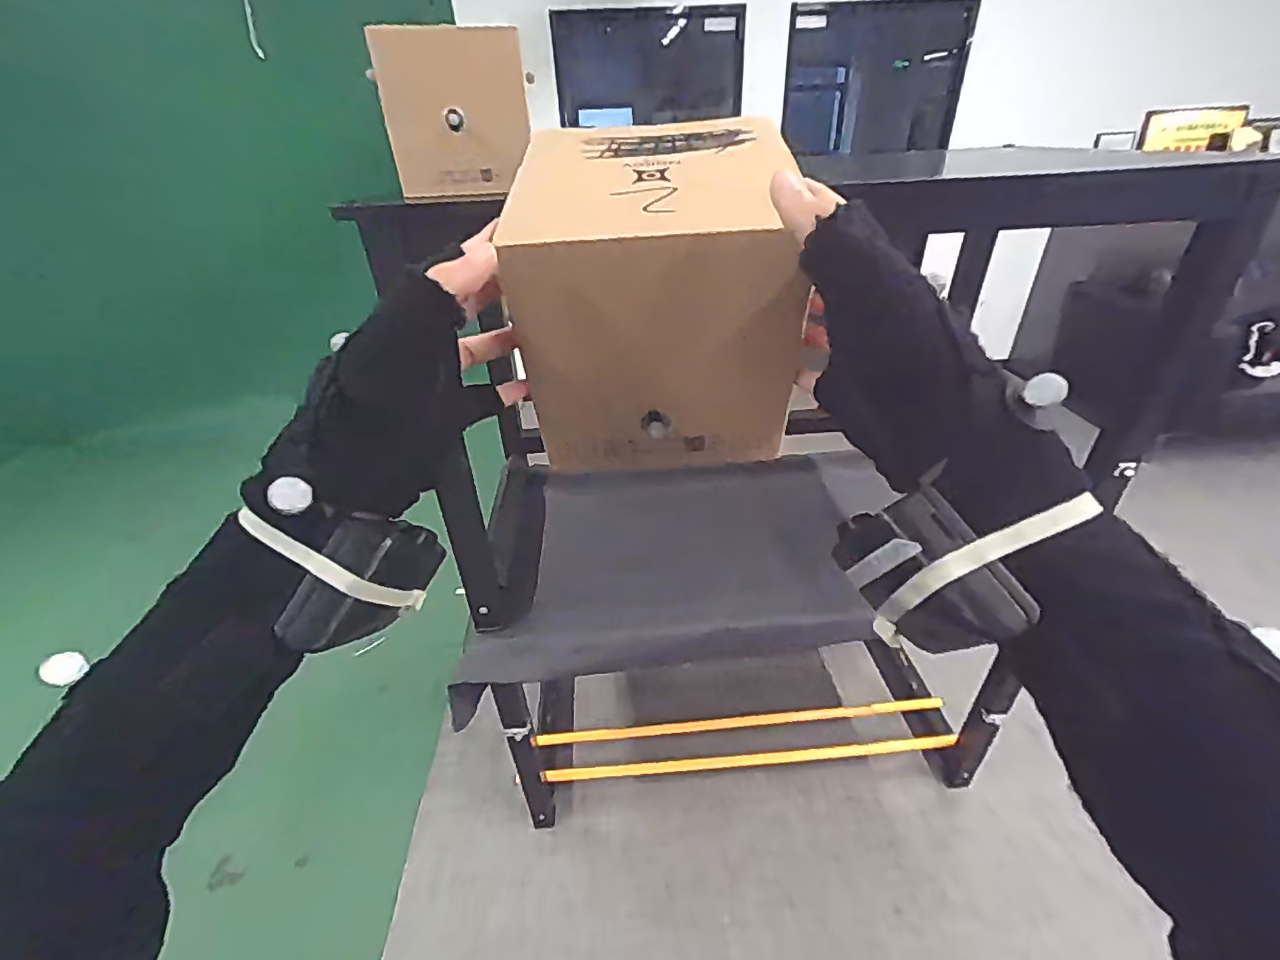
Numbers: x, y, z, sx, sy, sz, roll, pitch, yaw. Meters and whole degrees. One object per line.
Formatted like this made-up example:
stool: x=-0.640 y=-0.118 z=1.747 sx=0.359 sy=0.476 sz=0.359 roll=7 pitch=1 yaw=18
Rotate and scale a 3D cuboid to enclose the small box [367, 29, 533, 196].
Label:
small box: x=-0.237 y=-0.479 z=0.721 sx=0.168 sy=0.176 sz=0.179 roll=-7 pitch=32 yaw=-9
